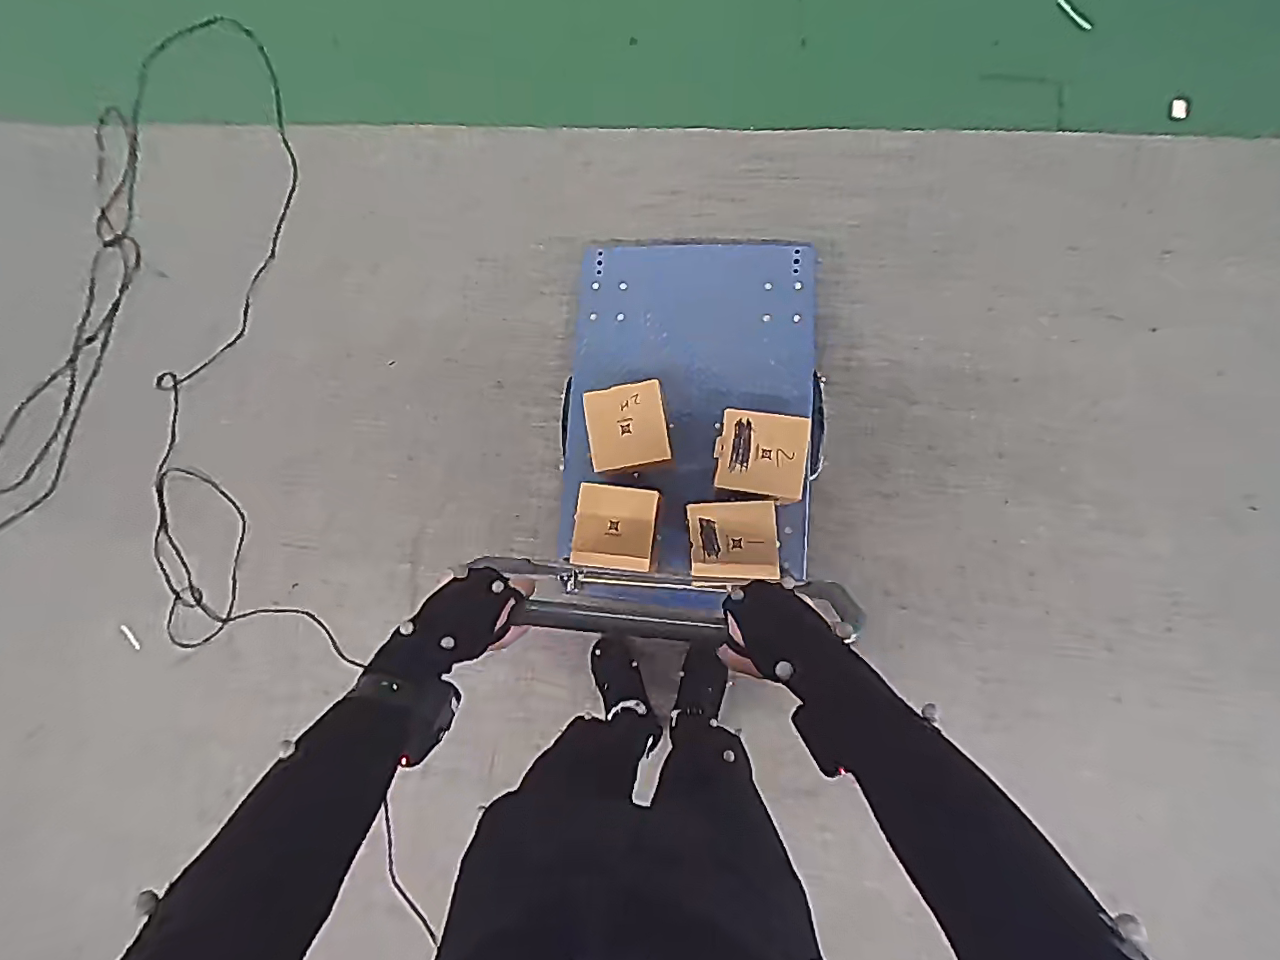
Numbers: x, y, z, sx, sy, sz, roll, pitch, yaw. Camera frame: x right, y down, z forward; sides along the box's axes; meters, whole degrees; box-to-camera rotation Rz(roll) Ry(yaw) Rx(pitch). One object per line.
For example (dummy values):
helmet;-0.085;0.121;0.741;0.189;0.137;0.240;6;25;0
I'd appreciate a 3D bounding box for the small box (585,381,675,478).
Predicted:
small box;-0.016;-0.103;1.206;0.168;0.176;0.179;-9;82;6
